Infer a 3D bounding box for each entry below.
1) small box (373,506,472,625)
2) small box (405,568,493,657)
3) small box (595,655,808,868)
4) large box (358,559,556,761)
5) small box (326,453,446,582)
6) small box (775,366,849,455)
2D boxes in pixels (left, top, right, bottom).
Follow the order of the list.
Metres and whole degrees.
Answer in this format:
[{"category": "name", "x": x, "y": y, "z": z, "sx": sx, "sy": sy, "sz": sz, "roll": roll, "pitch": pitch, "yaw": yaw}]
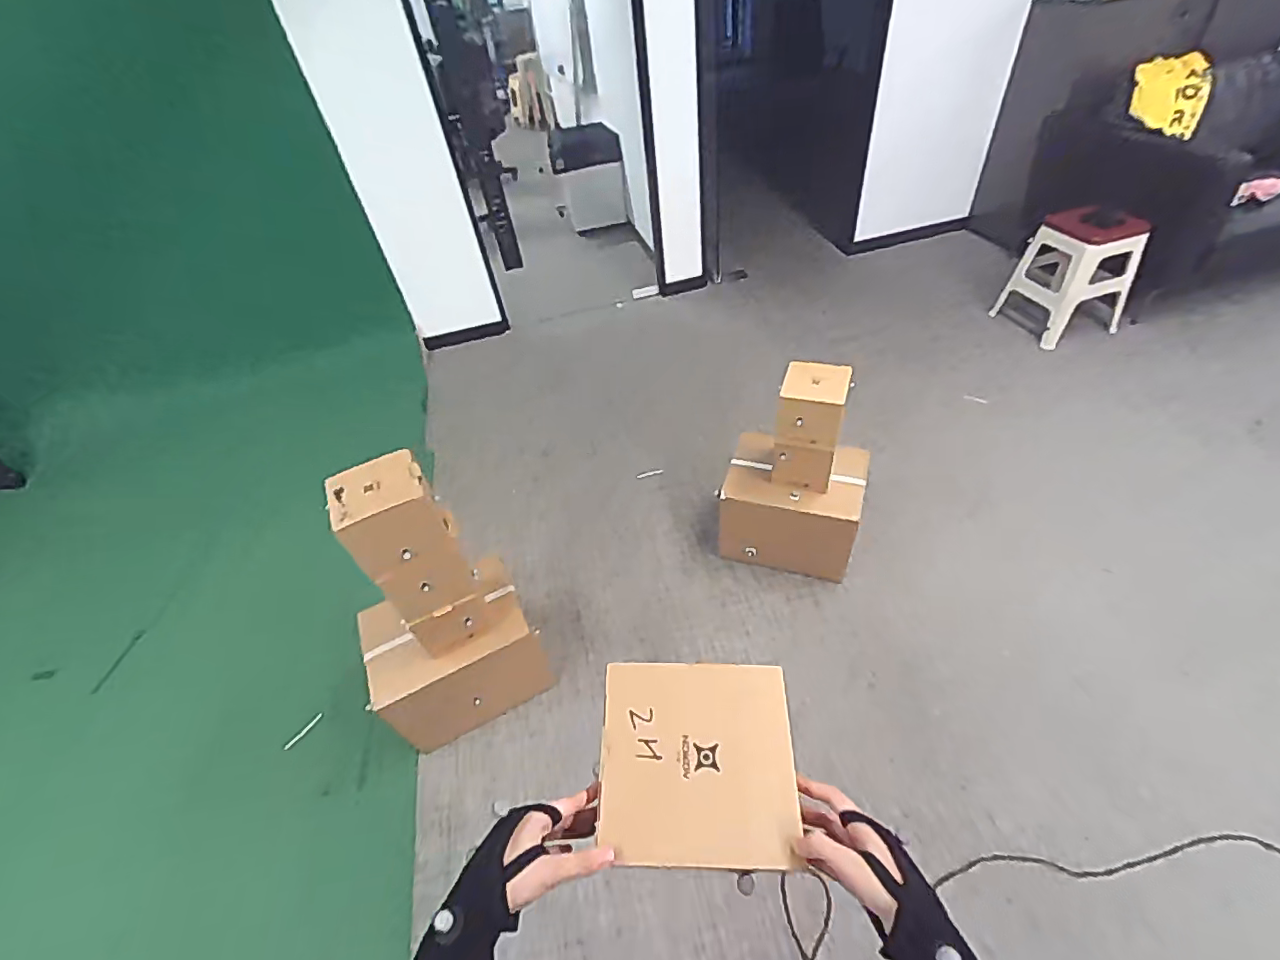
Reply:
[{"category": "small box", "x": -0.502, "y": 0.197, "z": 1.243, "sx": 0.179, "sy": 0.176, "sz": 0.168, "roll": -25, "pitch": 47, "yaw": -16}, {"category": "small box", "x": -0.487, "y": 0.317, "z": 1.354, "sx": 0.168, "sy": 0.176, "sz": 0.179, "roll": -23, "pitch": 46, "yaw": -15}, {"category": "small box", "x": 0.053, "y": 0.288, "z": 0.548, "sx": 0.179, "sy": 0.176, "sz": 0.168, "roll": 1, "pitch": 54, "yaw": 2}, {"category": "large box", "x": -0.503, "y": 0.500, "z": 1.520, "sx": 0.408, "sy": 0.320, "sz": 0.320, "roll": -25, "pitch": 45, "yaw": -15}, {"category": "small box", "x": -0.523, "y": 0.079, "z": 1.130, "sx": 0.179, "sy": 0.176, "sz": 0.168, "roll": -23, "pitch": 46, "yaw": -17}, {"category": "small box", "x": 0.470, "y": -0.190, "z": 1.490, "sx": 0.168, "sy": 0.176, "sz": 0.179, "roll": 10, "pitch": 45, "yaw": 19}]
